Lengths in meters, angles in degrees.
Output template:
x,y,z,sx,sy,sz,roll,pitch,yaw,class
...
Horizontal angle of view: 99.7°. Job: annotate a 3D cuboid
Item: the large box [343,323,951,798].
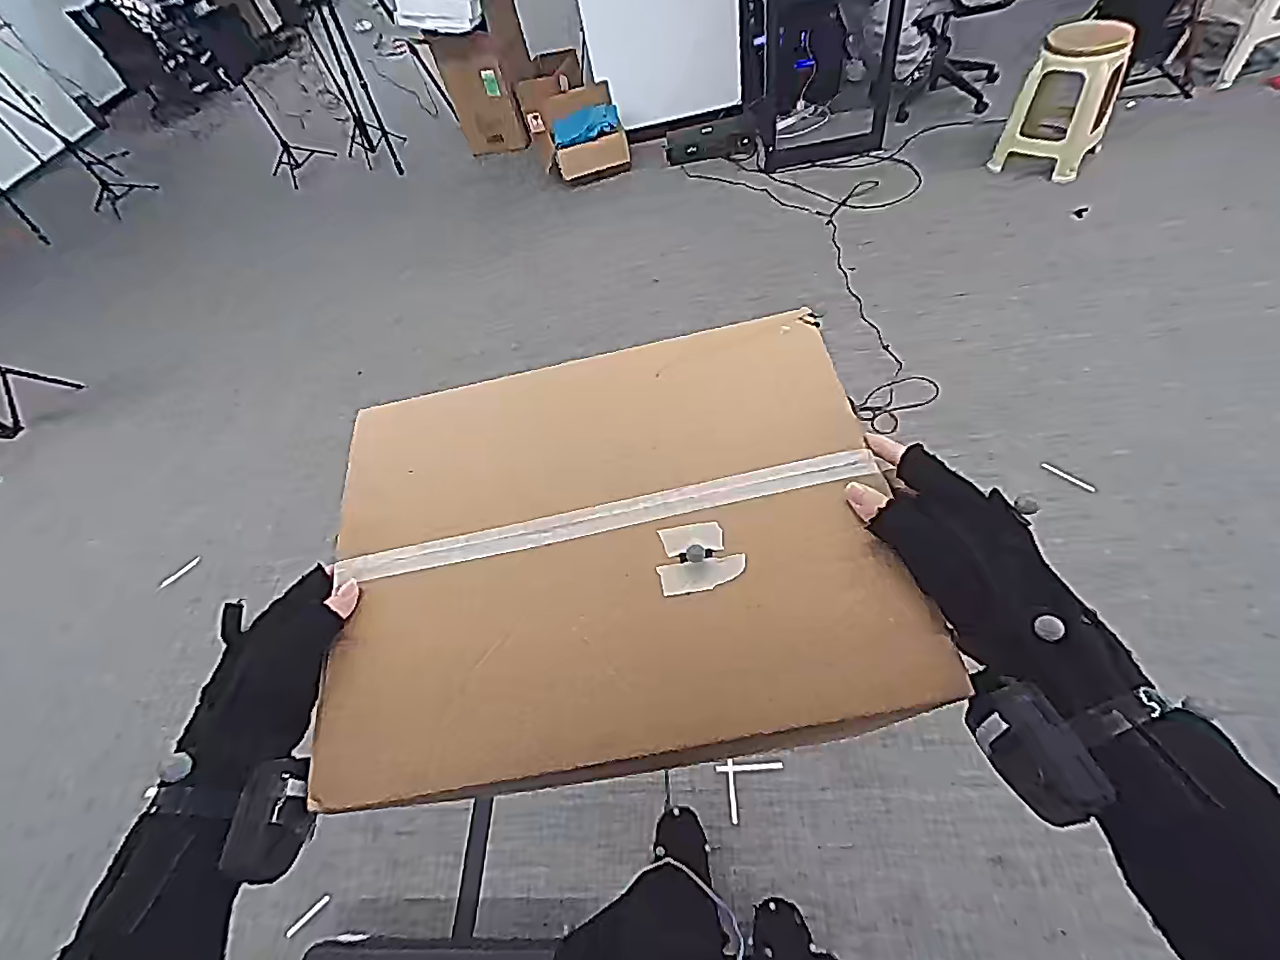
x,y,z,sx,sy,sz,roll,pitch,yaw,class
-0.003,0.104,0.541,0.408,0.320,0.320,-12,61,3,large box
